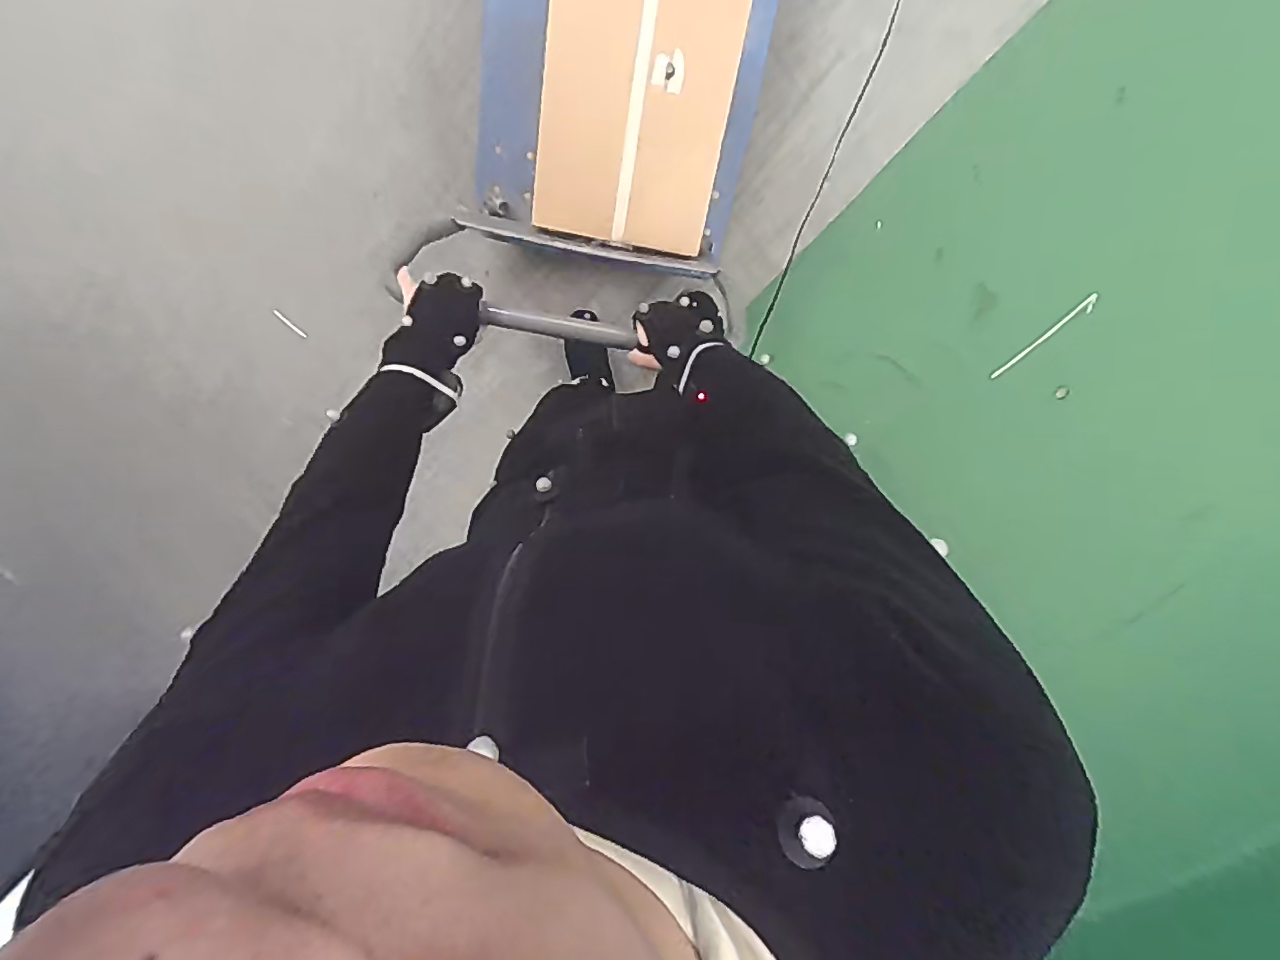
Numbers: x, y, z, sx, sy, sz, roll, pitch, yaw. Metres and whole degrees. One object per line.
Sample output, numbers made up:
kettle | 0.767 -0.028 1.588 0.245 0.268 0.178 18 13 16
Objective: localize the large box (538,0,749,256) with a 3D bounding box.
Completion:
large box | -0.006 -0.684 1.065 0.320 0.320 0.408 9 115 -5
